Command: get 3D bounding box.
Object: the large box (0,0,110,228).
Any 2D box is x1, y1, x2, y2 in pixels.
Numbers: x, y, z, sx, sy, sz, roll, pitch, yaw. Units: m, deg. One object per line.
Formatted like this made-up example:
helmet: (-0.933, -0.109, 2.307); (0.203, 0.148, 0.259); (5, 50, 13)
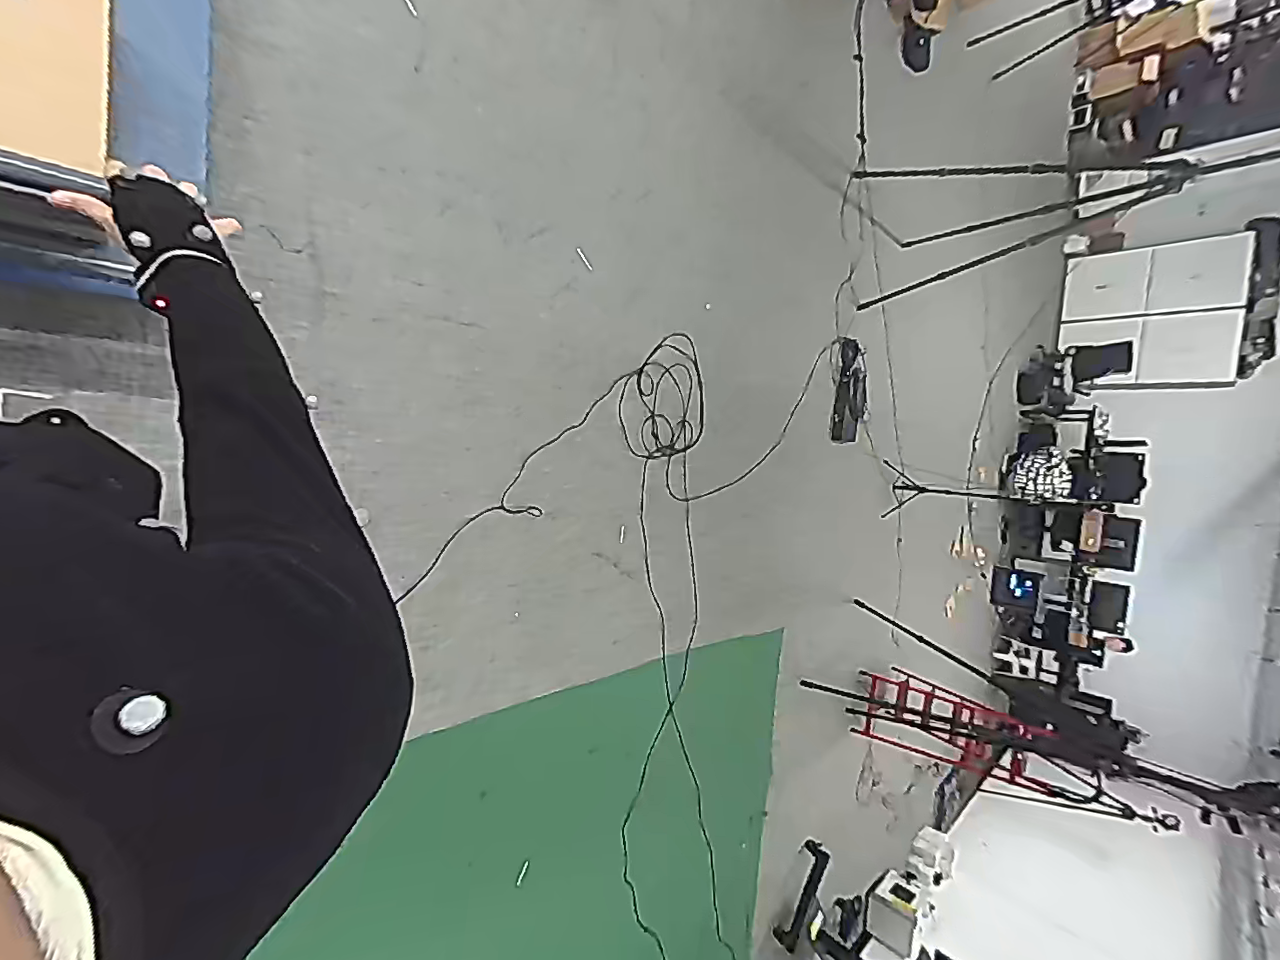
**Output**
large box: (-1.019, -0.659, 0.809); (0.320, 0.320, 0.408); (1, 94, -44)
